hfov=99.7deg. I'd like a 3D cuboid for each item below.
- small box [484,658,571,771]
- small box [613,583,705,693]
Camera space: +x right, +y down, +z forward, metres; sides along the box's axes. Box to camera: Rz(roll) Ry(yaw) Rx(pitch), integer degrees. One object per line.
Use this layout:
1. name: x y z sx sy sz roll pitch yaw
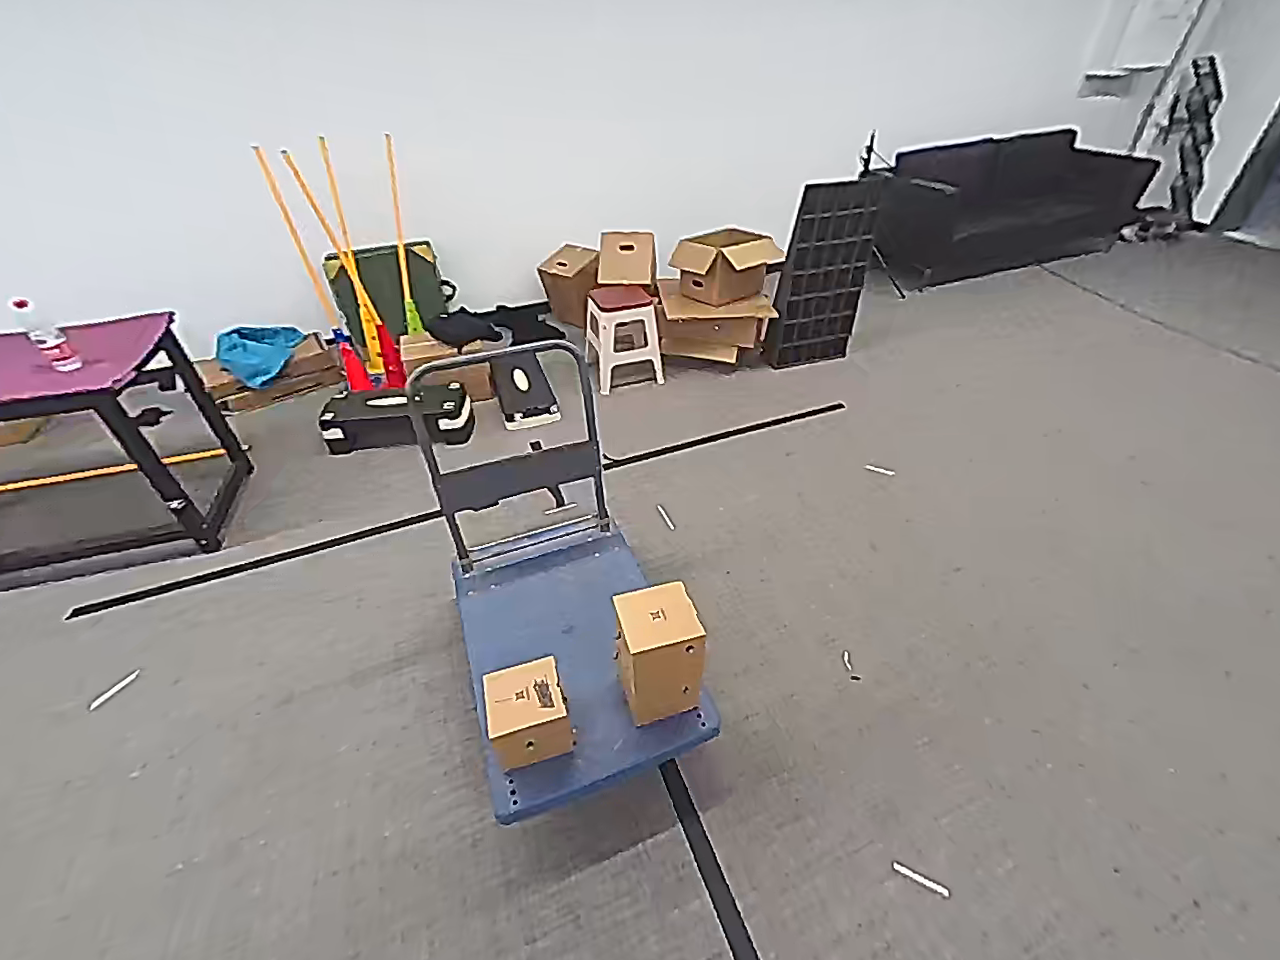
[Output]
1. small box: -0.267 0.567 1.307 0.179 0.176 0.168 -13 40 -12
2. small box: 0.042 0.375 1.275 0.179 0.176 0.168 -10 39 -12
